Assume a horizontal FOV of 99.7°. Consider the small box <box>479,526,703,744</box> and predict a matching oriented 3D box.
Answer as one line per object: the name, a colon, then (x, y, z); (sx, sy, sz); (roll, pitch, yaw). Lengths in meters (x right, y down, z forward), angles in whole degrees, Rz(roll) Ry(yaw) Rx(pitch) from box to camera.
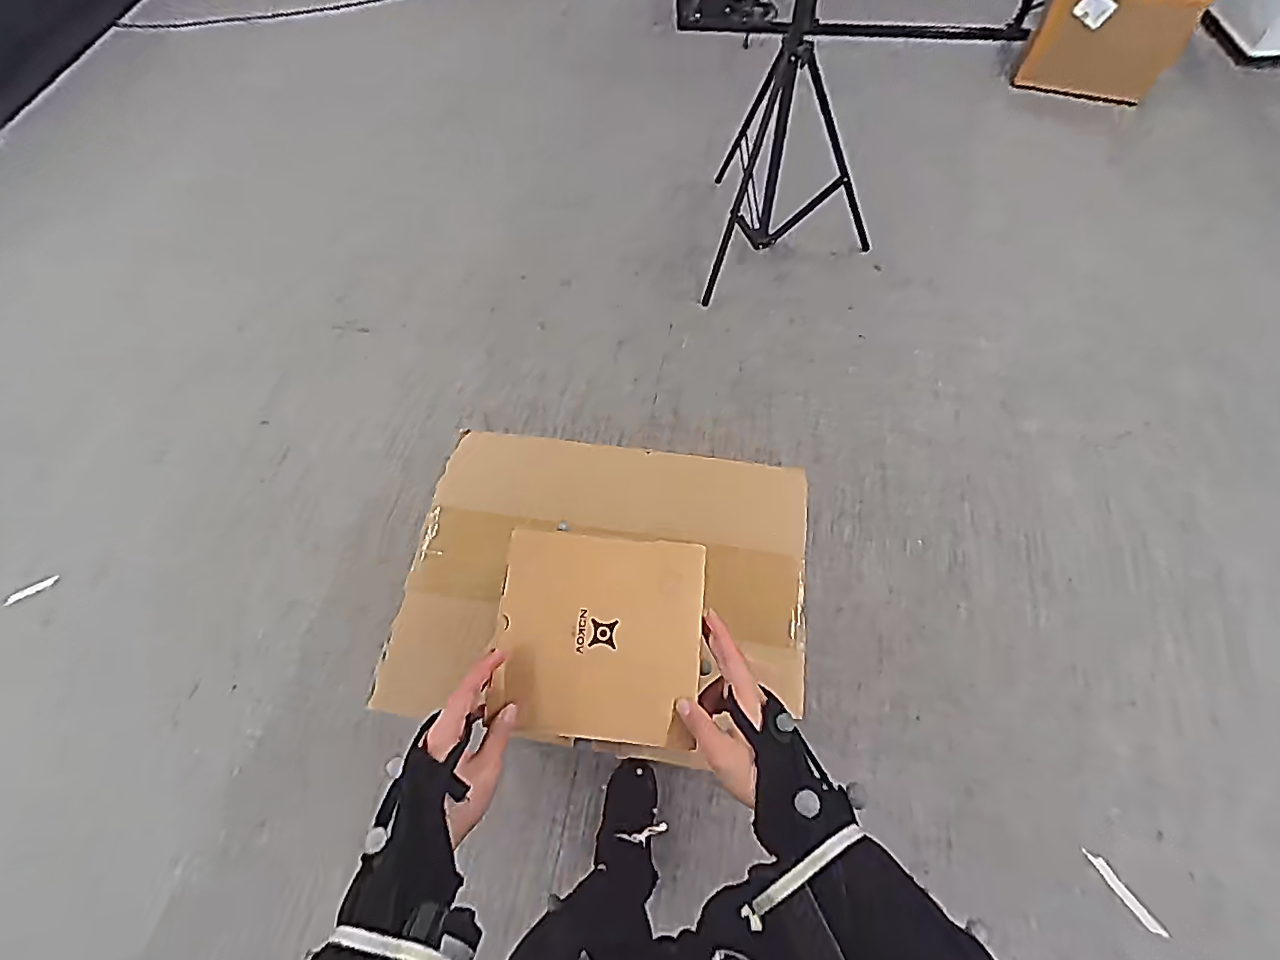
small box: (-0.035, 0.148, 0.534); (0.179, 0.176, 0.168); (4, 73, 5)
